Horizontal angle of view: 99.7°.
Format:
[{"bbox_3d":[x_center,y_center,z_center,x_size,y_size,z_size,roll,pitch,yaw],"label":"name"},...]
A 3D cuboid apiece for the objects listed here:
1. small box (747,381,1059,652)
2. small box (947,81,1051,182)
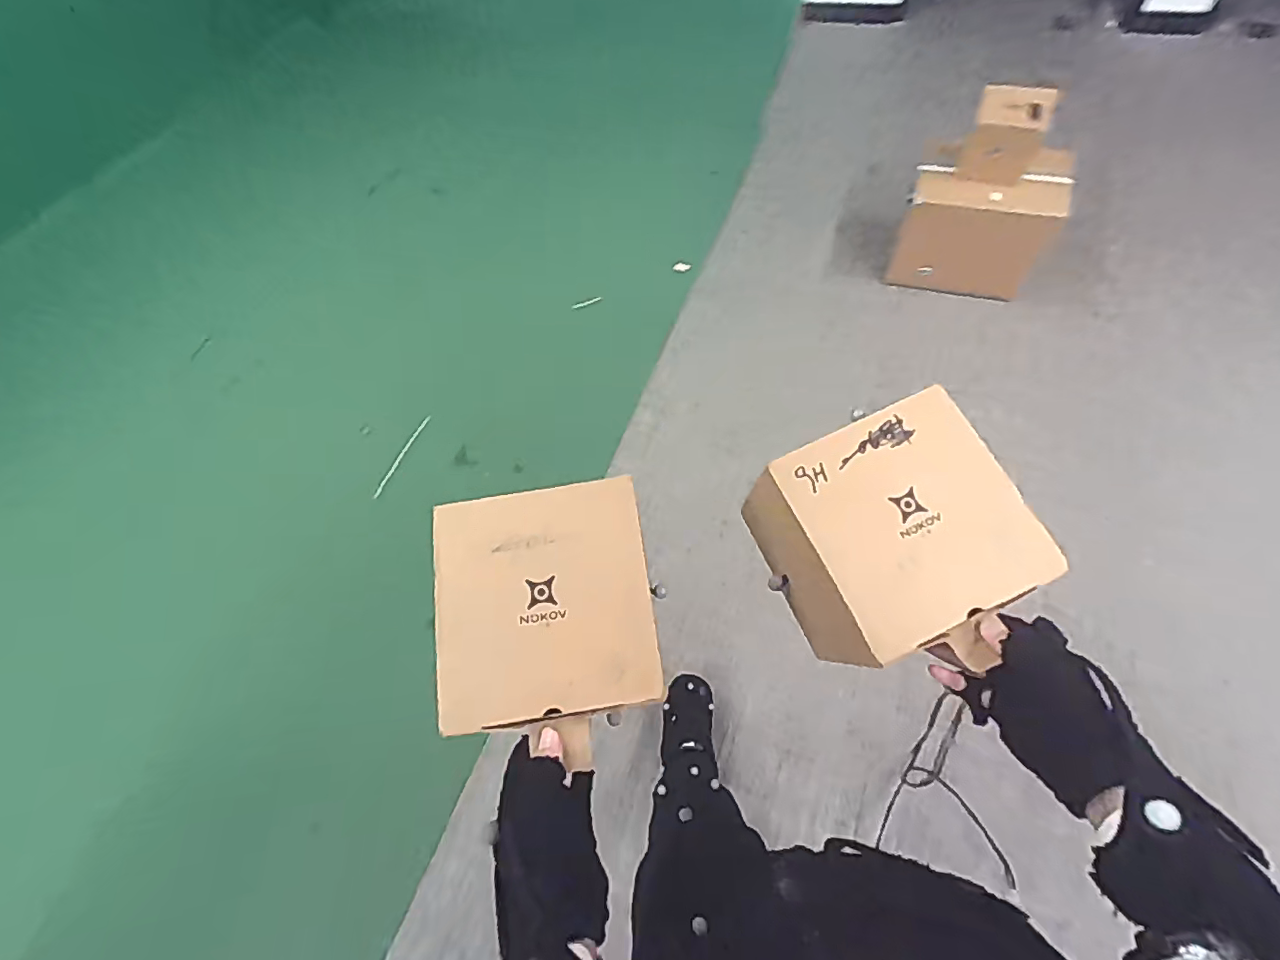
[{"bbox_3d":[0.219,0.042,0.508,0.168,0.176,0.179,-23,75,-5],"label":"small box"},{"bbox_3d":[1.005,-0.977,1.526,0.179,0.176,0.168,21,71,17],"label":"small box"}]
